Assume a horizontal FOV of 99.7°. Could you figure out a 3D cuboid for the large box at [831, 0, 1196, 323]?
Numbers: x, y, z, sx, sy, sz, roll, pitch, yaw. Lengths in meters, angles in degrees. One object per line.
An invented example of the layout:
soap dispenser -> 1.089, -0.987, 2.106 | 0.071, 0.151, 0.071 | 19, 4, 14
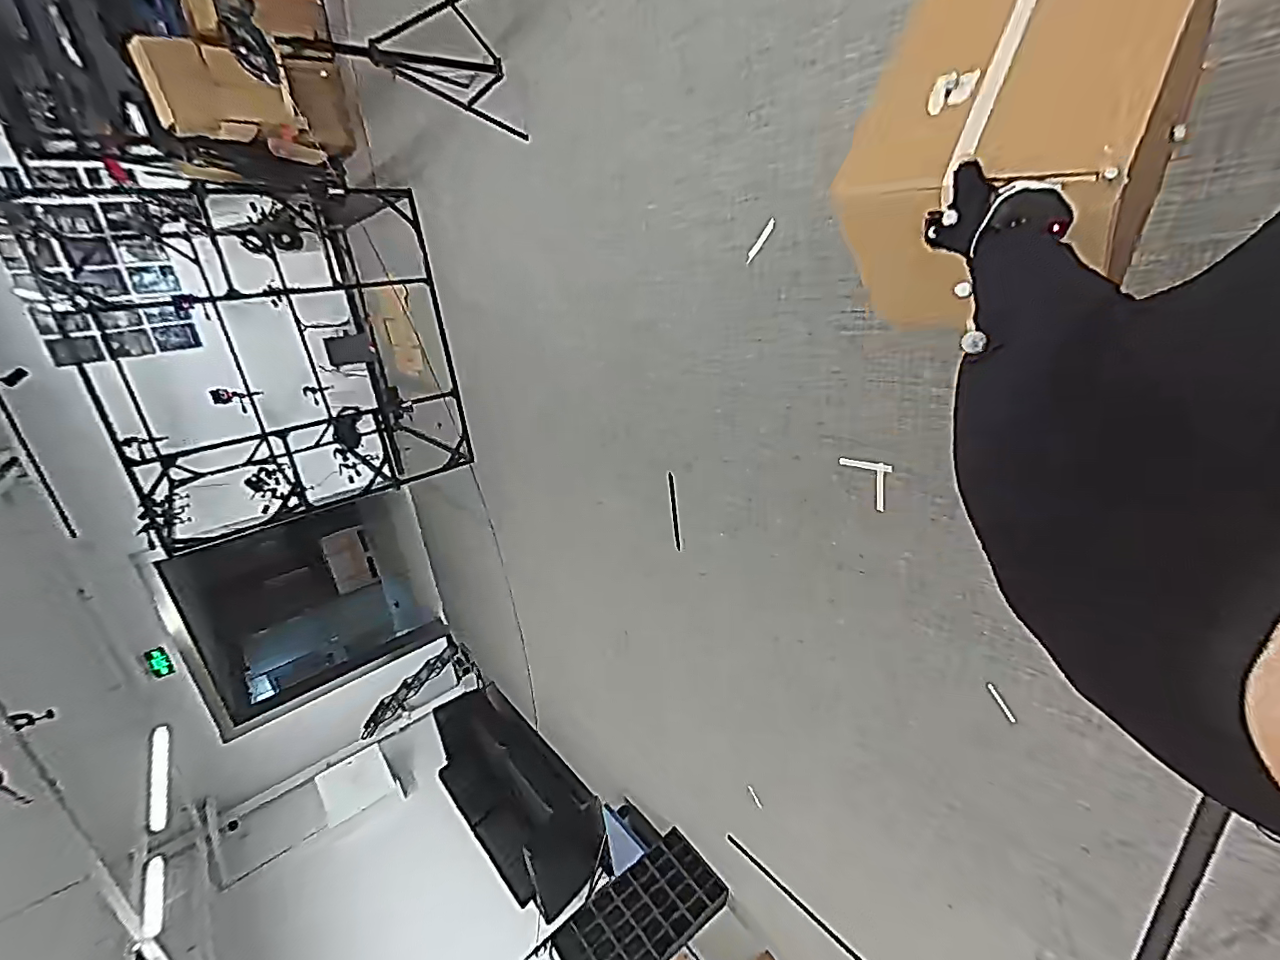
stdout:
large box -> 0.527, -0.487, 0.766 | 0.320, 0.320, 0.408 | 20, 87, 41
